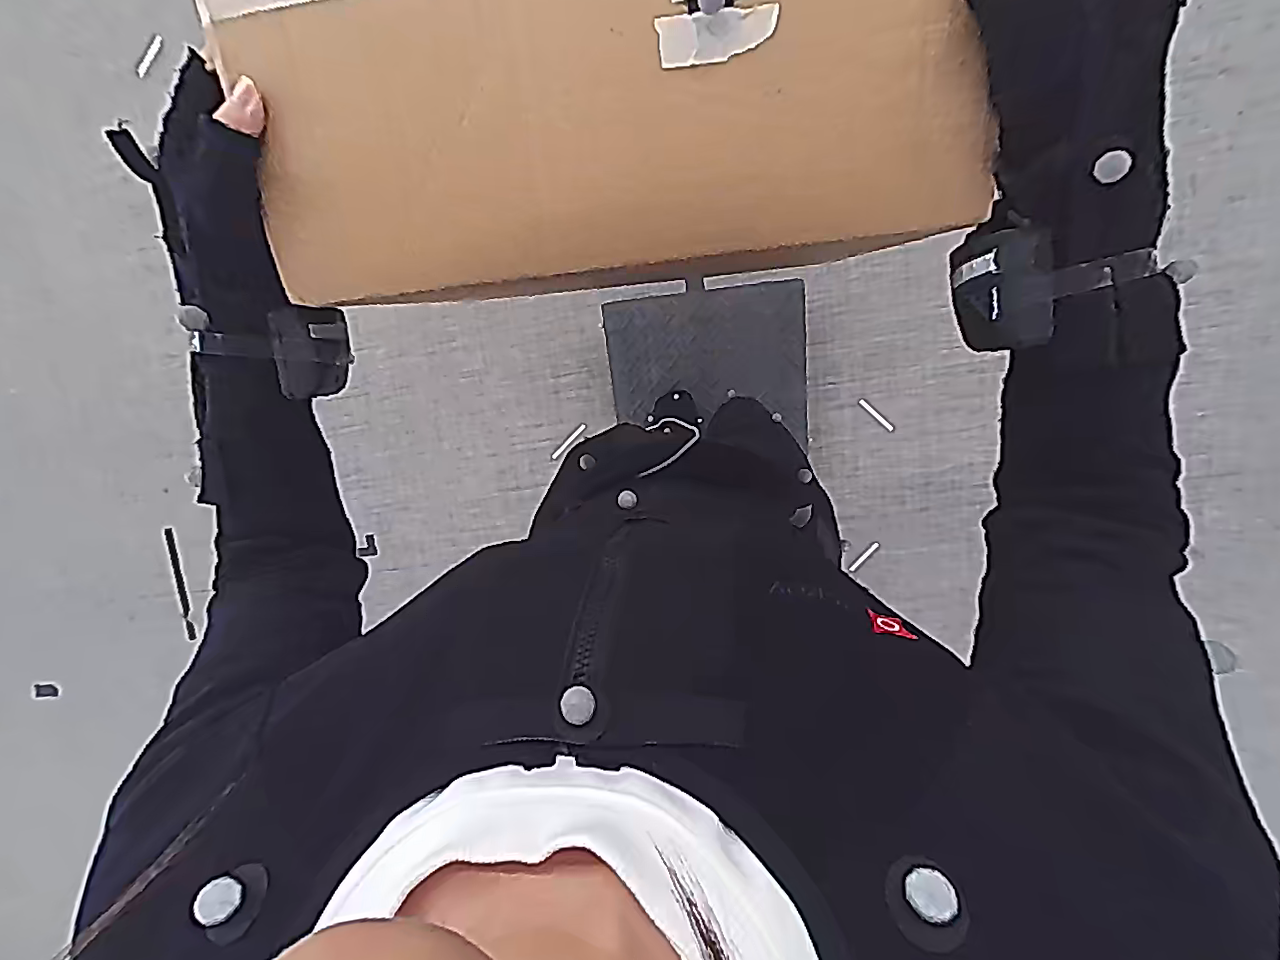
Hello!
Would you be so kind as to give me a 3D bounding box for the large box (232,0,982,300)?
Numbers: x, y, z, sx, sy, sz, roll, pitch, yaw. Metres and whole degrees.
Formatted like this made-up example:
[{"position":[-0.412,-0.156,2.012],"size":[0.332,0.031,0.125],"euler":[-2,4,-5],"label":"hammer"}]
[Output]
[{"position":[-0.019,-0.326,0.417],"size":[0.408,0.320,0.320],"euler":[-4,109,7],"label":"large box"}]
